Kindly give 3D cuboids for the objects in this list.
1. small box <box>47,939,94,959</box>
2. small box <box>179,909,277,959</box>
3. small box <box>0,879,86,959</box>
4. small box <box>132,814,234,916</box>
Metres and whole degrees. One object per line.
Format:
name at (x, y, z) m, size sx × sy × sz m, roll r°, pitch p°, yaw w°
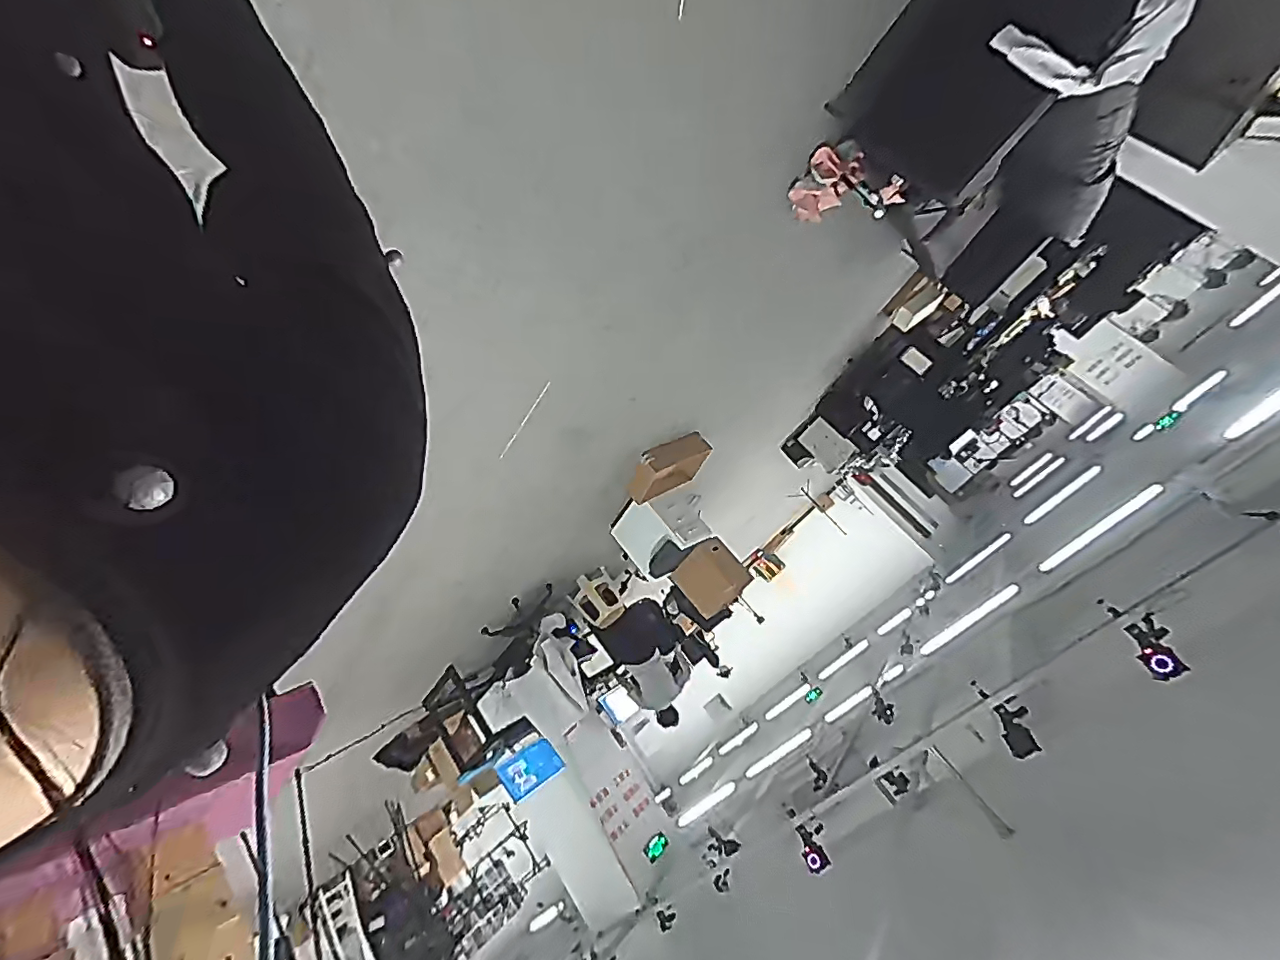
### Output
small box at (-1.506, 1.322, 1.362) m, size 0.168 × 0.176 × 0.179 m, roll -49°, pitch 159°, yaw 21°
small box at (-1.244, 1.446, 1.608) m, size 0.168 × 0.176 × 0.179 m, roll -43°, pitch 160°, yaw 8°
small box at (-1.612, 1.209, 1.418) m, size 0.168 × 0.176 × 0.179 m, roll -49°, pitch 159°, yaw 23°
small box at (-1.442, 1.201, 1.705) m, size 0.168 × 0.176 × 0.179 m, roll -46°, pitch 158°, yaw 14°
